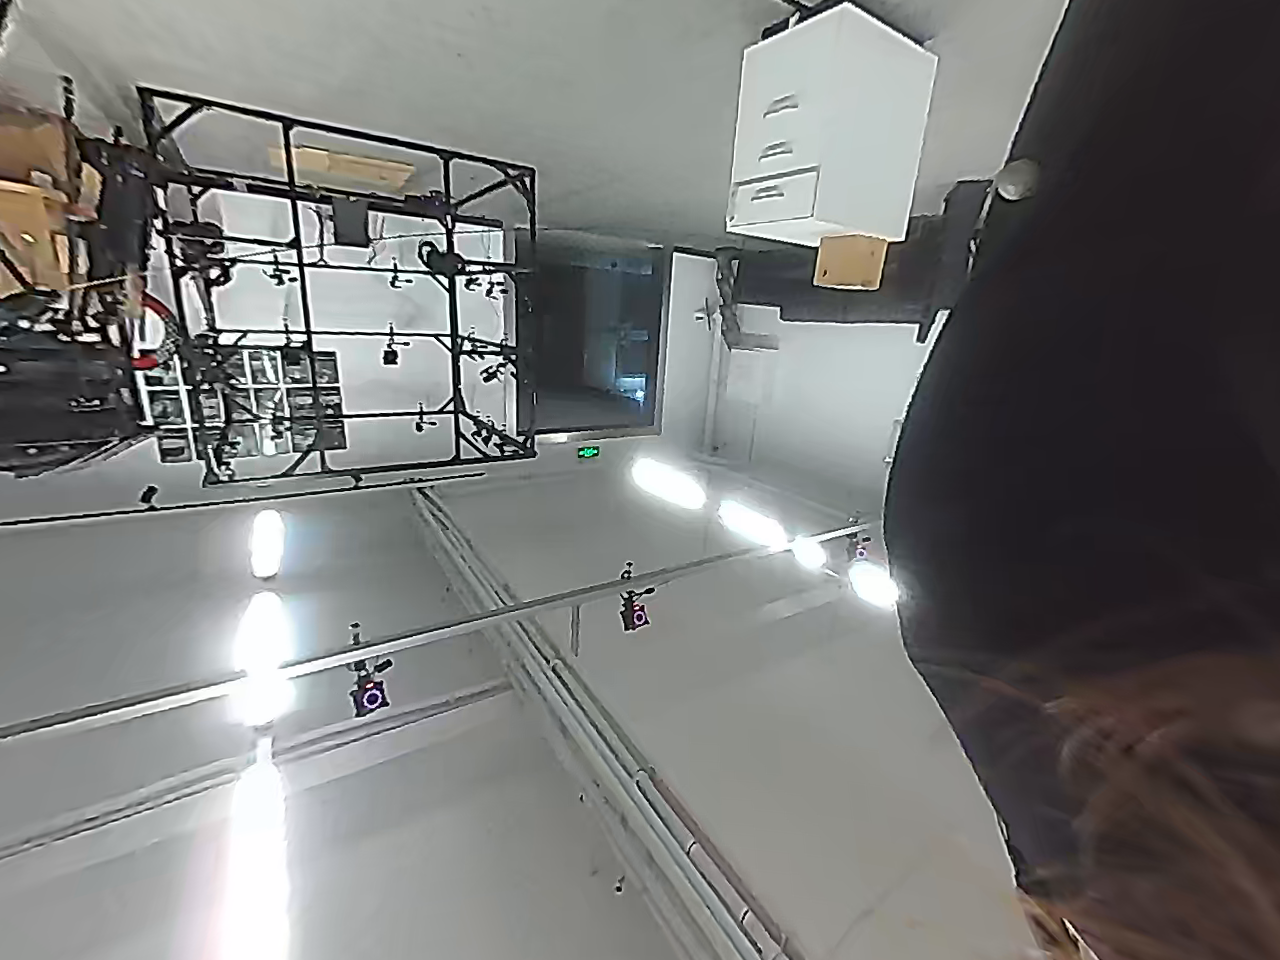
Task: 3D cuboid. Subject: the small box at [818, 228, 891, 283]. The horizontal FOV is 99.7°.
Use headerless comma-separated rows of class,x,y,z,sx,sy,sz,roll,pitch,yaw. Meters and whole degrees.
small box,0.791,-0.825,1.995,0.168,0.176,0.179,-9,-158,-32
